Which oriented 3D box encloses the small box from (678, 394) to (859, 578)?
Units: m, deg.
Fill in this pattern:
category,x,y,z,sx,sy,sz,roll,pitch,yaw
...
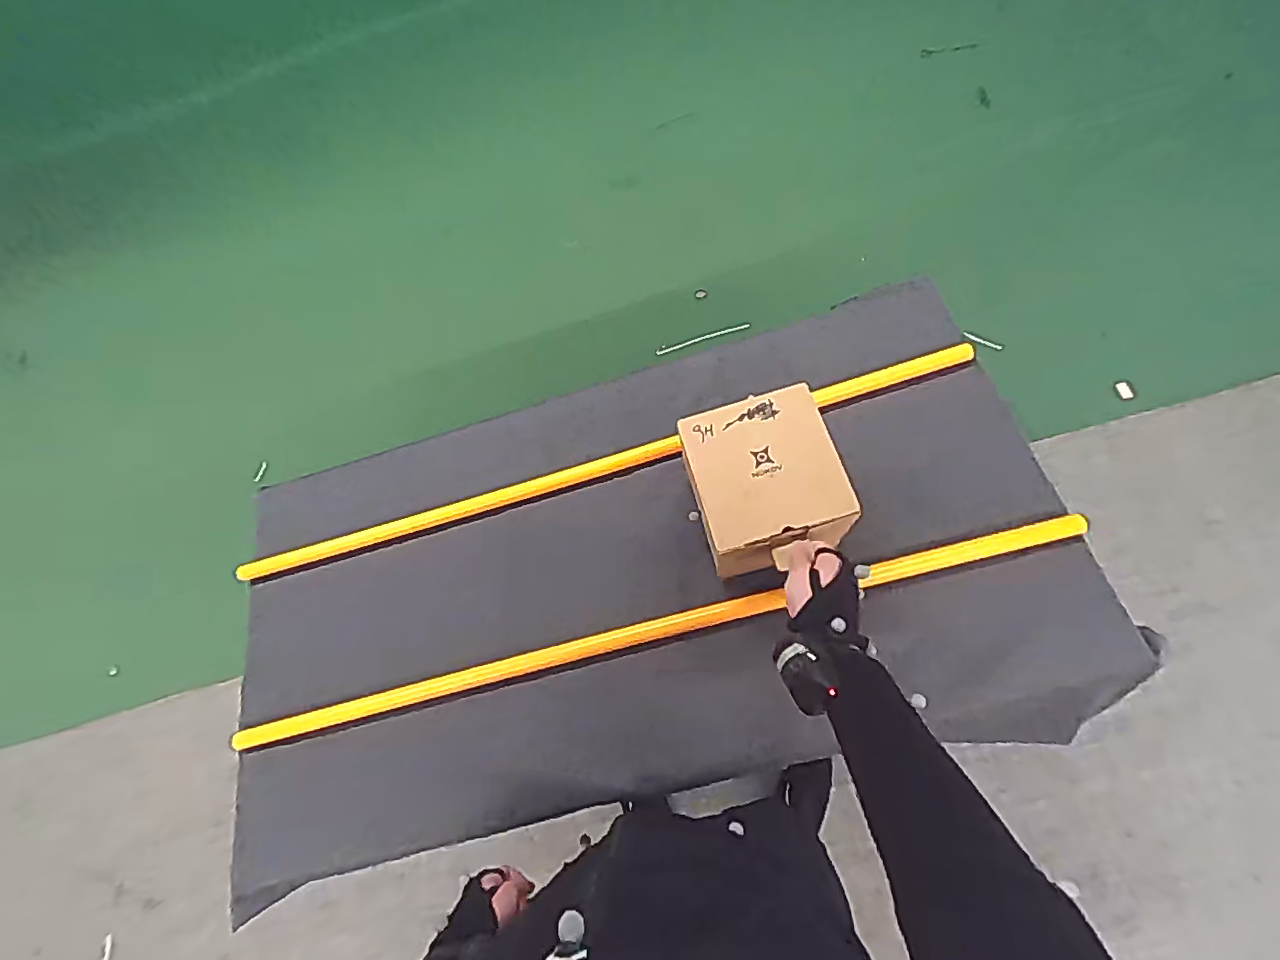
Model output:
category,x,y,z,sx,sy,sz,roll,pitch,yaw
small box,0.162,0.021,0.709,0.168,0.176,0.179,-20,69,4
